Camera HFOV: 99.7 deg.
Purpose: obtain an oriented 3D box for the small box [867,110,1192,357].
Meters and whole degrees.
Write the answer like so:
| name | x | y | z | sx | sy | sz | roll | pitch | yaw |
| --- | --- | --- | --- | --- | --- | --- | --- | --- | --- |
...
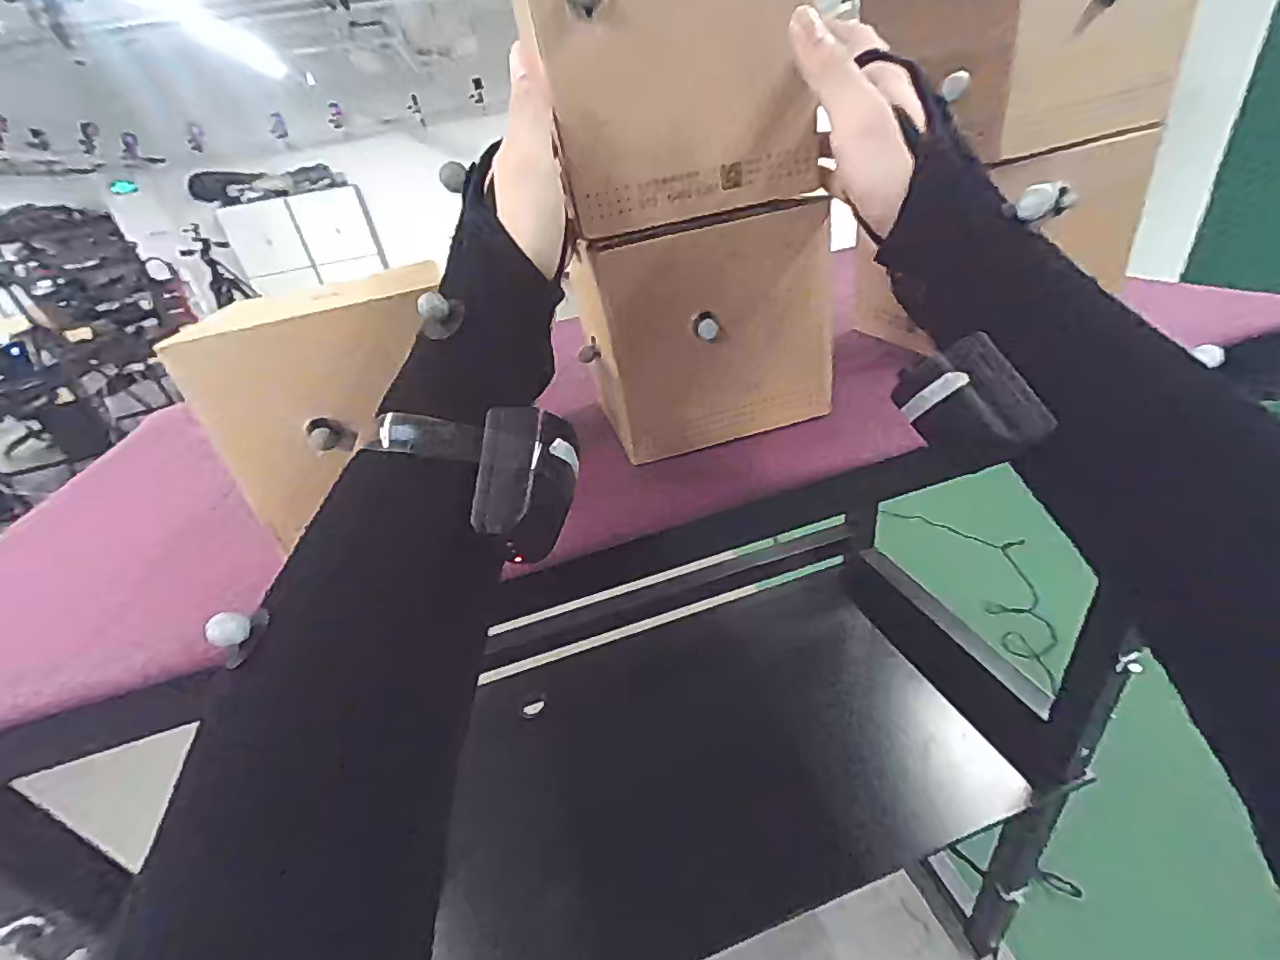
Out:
| name | x | y | z | sx | sy | sz | roll | pitch | yaw |
| --- | --- | --- | --- | --- | --- | --- | --- | --- | --- |
| small box | 0.335 | -0.227 | 0.509 | 0.179 | 0.176 | 0.168 | -13 | 31 | -5 |

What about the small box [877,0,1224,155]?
| name | x | y | z | sx | sy | sz | roll | pitch | yaw |
| --- | --- | --- | --- | --- | --- | --- | --- | --- | --- |
| small box | 0.310 | -0.363 | 0.423 | 0.179 | 0.176 | 0.168 | -18 | 32 | -10 |

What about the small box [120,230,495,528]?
| name | x | y | z | sx | sy | sz | roll | pitch | yaw |
| --- | --- | --- | --- | --- | --- | --- | --- | --- | --- |
| small box | -0.219 | -0.080 | 0.415 | 0.168 | 0.176 | 0.179 | -17 | 31 | -13 |
